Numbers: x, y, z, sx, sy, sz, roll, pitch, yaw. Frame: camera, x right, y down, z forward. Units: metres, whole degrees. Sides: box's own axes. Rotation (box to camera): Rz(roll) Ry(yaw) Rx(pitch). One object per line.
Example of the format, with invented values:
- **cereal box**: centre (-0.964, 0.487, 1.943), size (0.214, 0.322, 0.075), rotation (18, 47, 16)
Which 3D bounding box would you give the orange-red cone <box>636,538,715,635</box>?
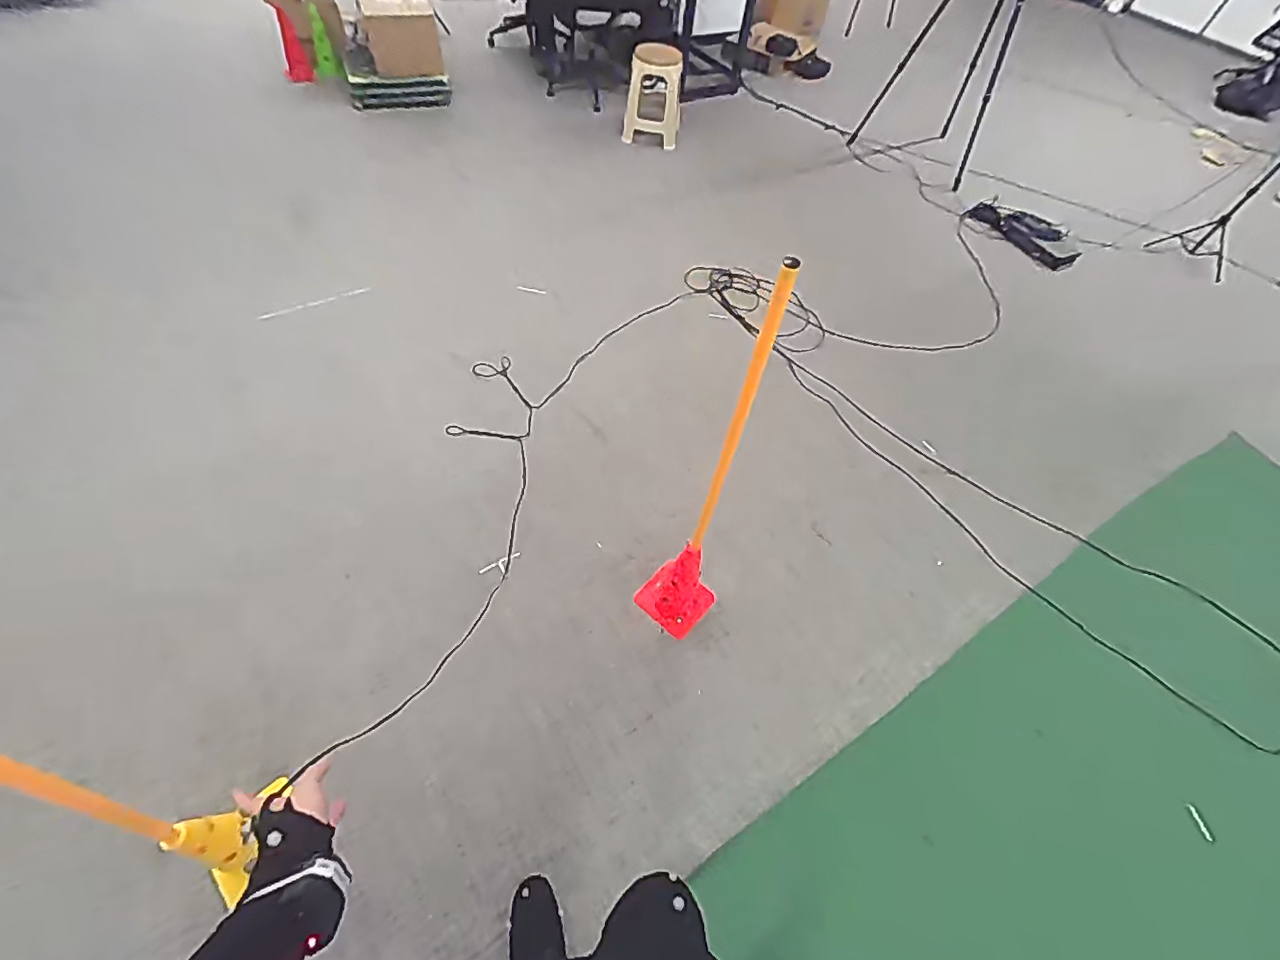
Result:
- **orange-red cone**: centre (0.131, 0.268, 1.568), size (0.198, 0.360, 0.199), rotation (40, 59, 19)
